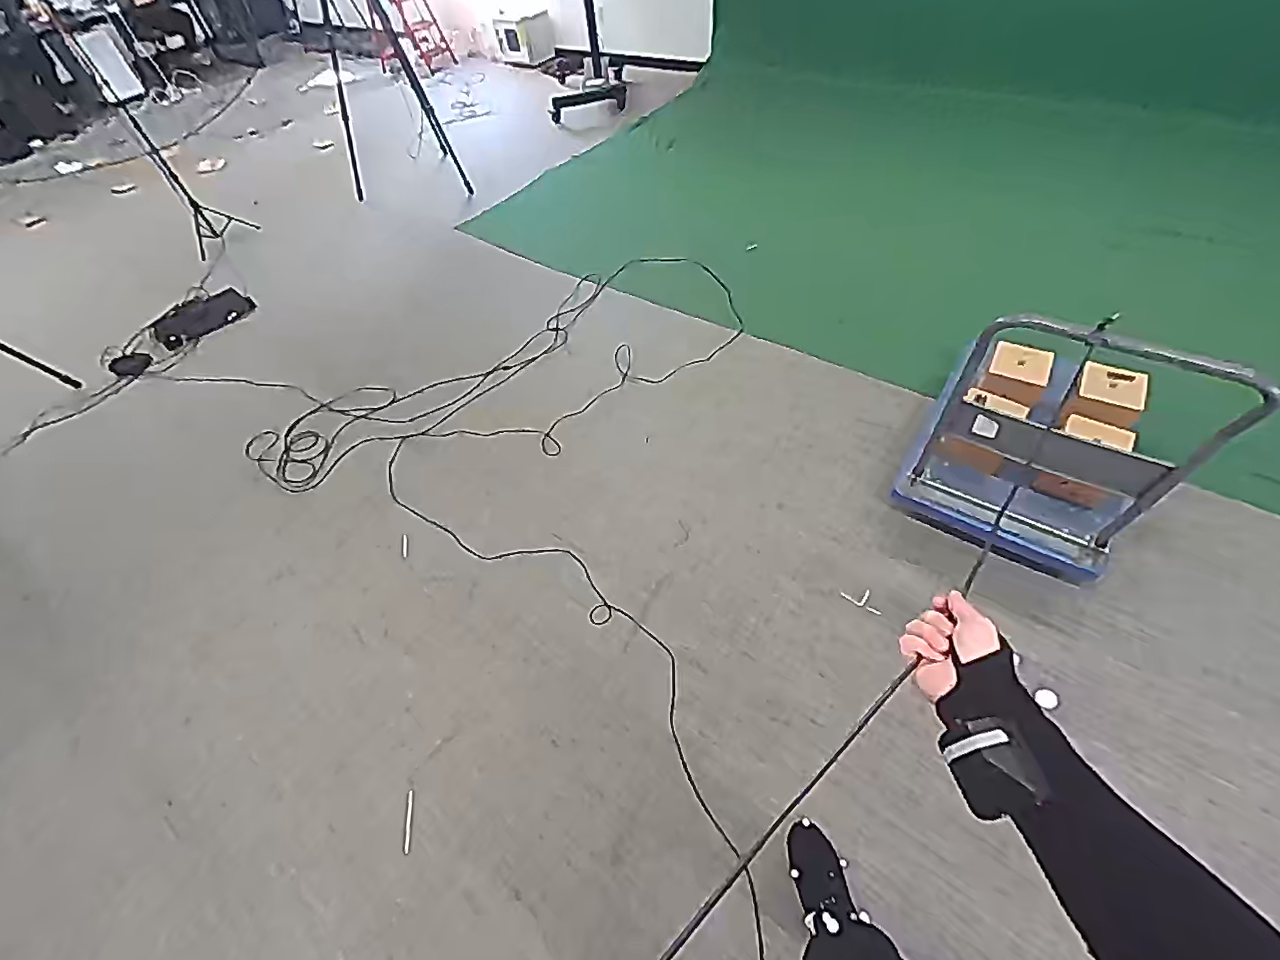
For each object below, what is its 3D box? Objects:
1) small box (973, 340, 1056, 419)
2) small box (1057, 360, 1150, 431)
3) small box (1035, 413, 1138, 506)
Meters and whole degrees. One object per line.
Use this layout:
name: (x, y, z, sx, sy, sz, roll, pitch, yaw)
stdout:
small box: (1.247, -0.332, 1.810, 0.168, 0.176, 0.179, 23, 59, 23)
small box: (1.461, -0.244, 1.712, 0.168, 0.176, 0.179, 23, 59, 24)
small box: (1.305, -0.060, 1.590, 0.168, 0.176, 0.179, 27, 61, 26)
